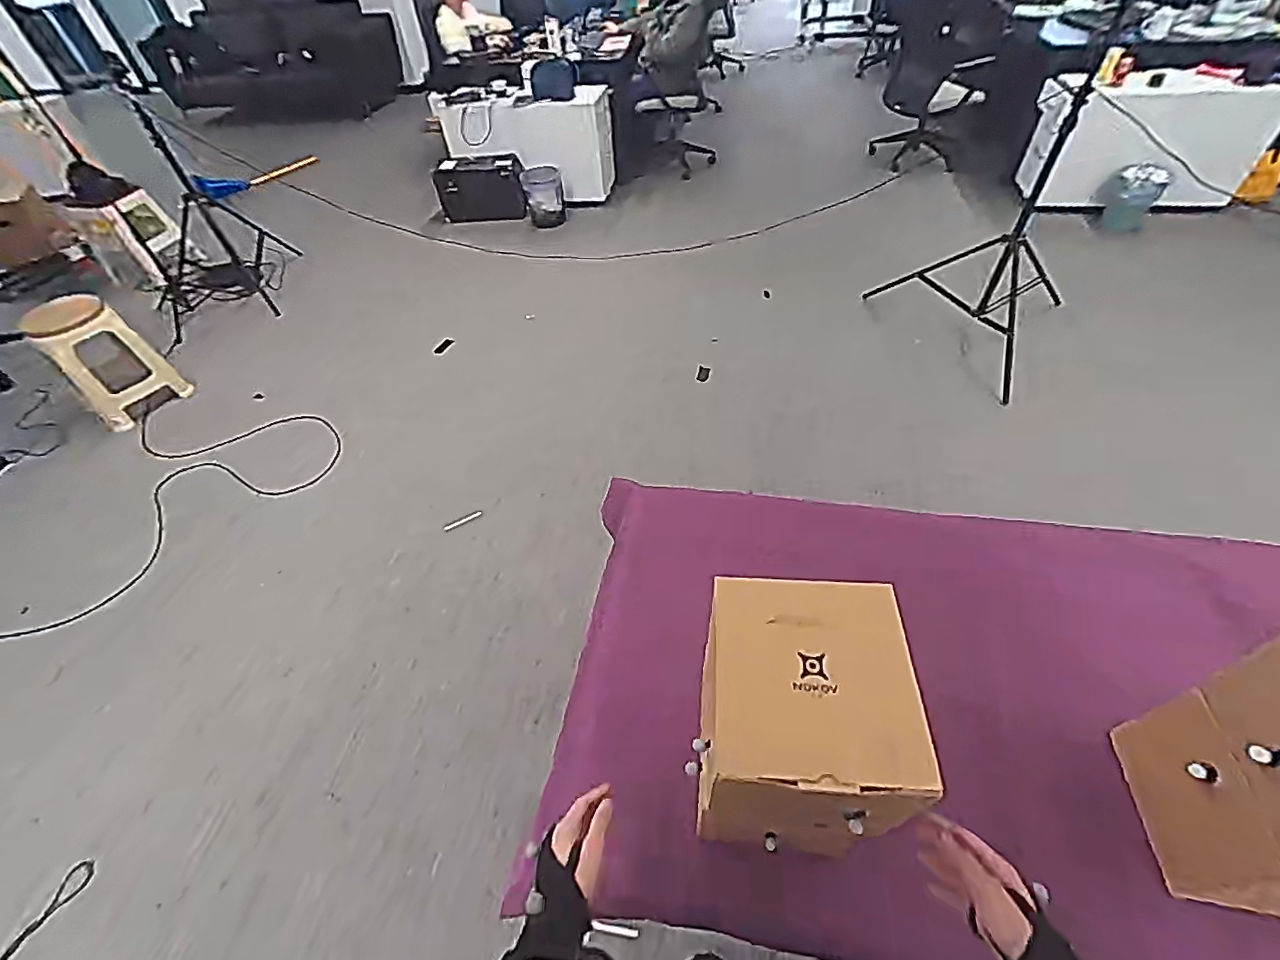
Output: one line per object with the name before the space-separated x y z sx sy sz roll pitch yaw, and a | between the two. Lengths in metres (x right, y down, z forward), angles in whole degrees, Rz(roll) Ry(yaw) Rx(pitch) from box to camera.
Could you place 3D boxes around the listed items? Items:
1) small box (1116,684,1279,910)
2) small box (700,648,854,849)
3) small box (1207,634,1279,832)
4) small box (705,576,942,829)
small box | 0.672 0.345 0.575 0.168 0.176 0.179 5 48 9
small box | 0.158 0.315 0.637 0.168 0.176 0.179 3 48 6
small box | 0.663 0.233 0.456 0.168 0.176 0.179 6 49 10
small box | 0.150 0.212 0.511 0.168 0.176 0.179 2 48 4
